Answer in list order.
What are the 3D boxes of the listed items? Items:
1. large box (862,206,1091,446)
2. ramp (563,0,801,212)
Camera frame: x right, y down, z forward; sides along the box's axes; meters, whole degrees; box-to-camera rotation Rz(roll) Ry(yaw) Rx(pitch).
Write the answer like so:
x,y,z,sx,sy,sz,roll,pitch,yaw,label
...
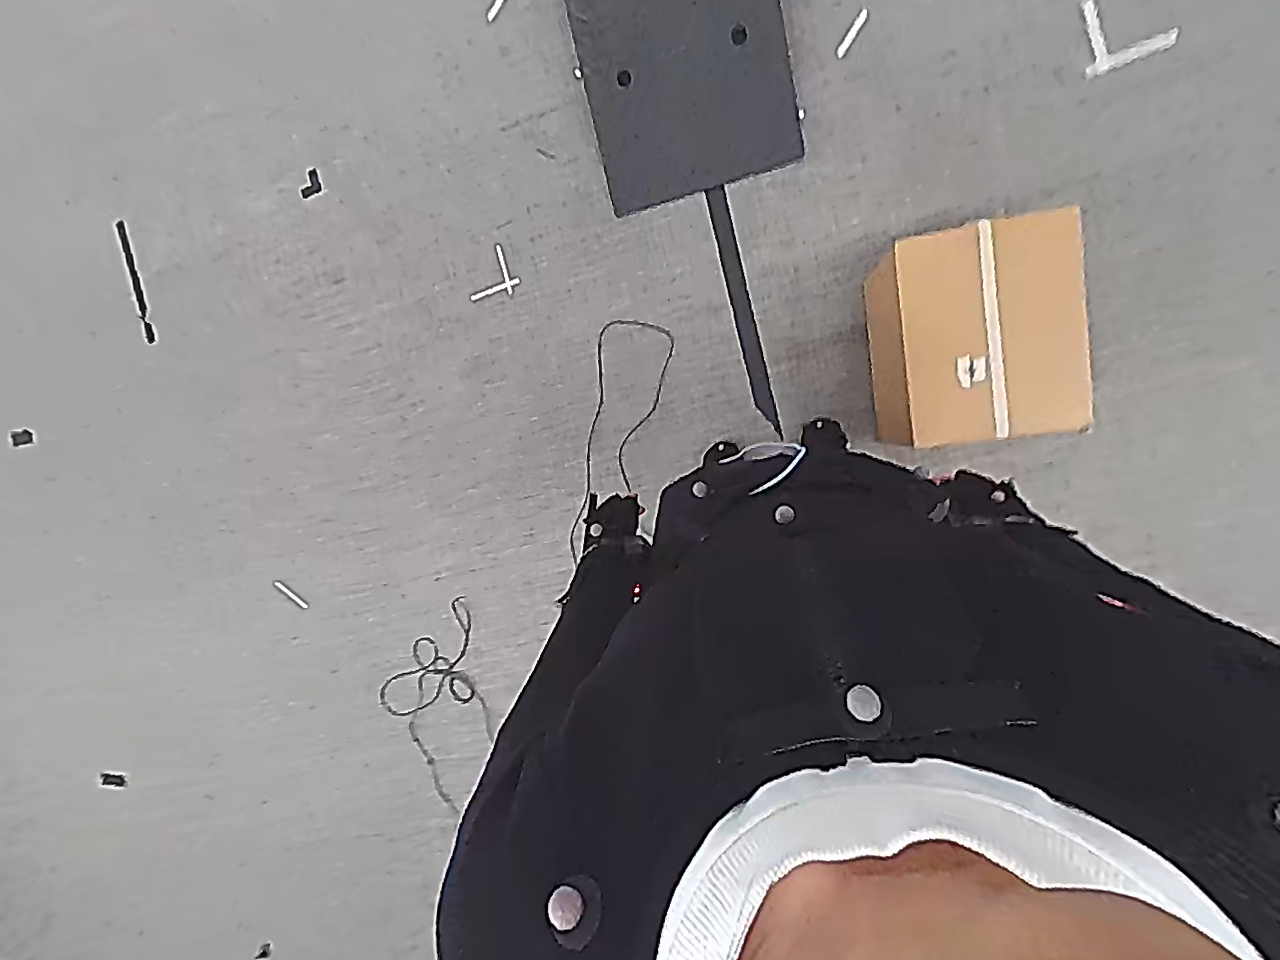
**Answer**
x,y,z,sx,sy,sz,roll,pitch,yaw,label
0.692,-0.301,1.167,0.320,0.320,0.408,-7,95,13,large box
0.046,-1.221,1.263,0.509,0.206,0.991,-13,94,12,ramp
